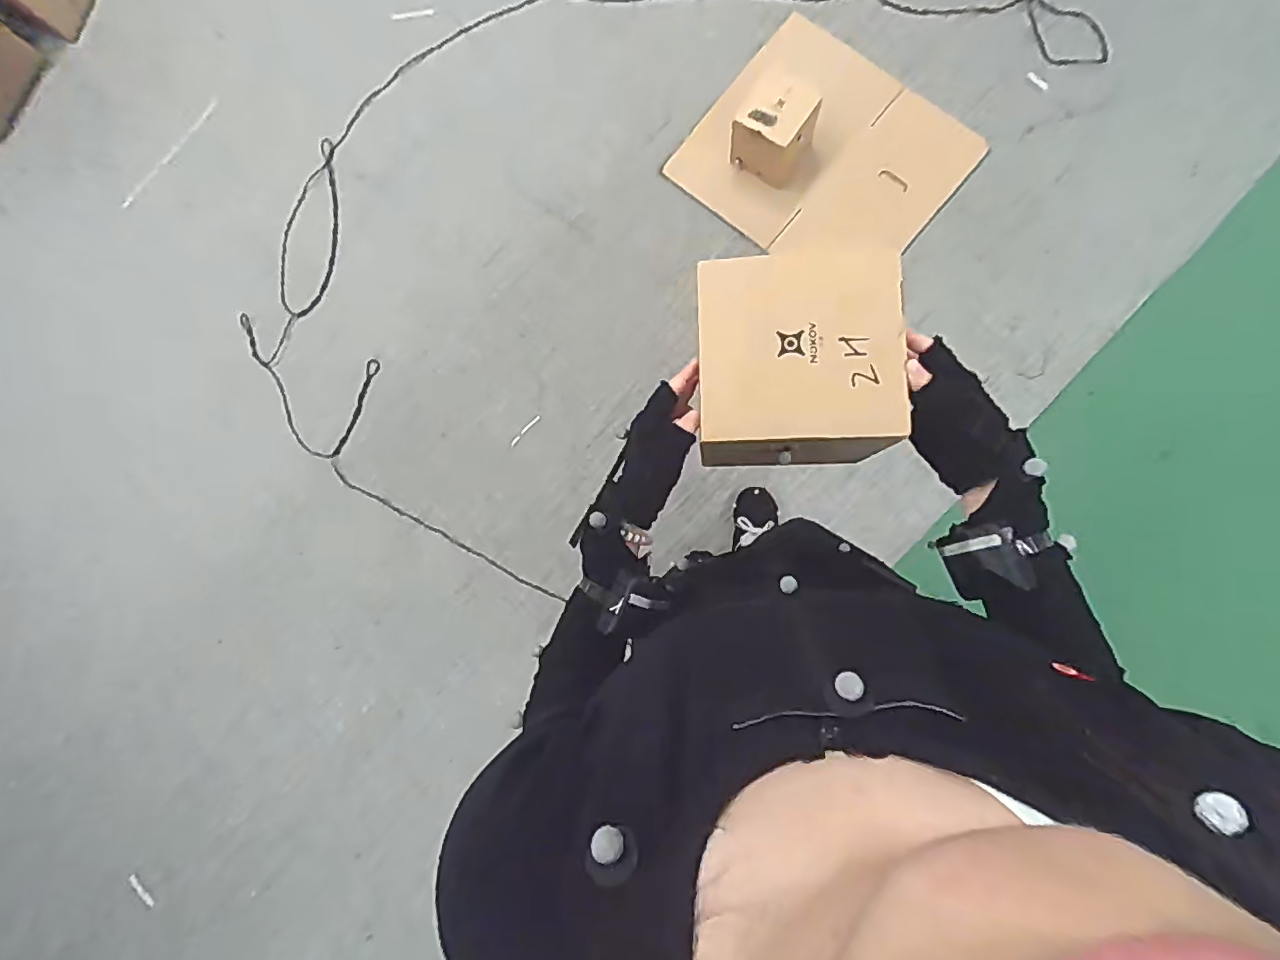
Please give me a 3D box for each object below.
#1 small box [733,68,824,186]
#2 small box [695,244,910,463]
[{"bbox_3d":[0.366,-0.945,1.465,0.168,0.176,0.179,36,89,8],"label":"small box"},{"bbox_3d":[0.146,-0.110,0.540,0.179,0.176,0.168,-1,84,7],"label":"small box"}]
